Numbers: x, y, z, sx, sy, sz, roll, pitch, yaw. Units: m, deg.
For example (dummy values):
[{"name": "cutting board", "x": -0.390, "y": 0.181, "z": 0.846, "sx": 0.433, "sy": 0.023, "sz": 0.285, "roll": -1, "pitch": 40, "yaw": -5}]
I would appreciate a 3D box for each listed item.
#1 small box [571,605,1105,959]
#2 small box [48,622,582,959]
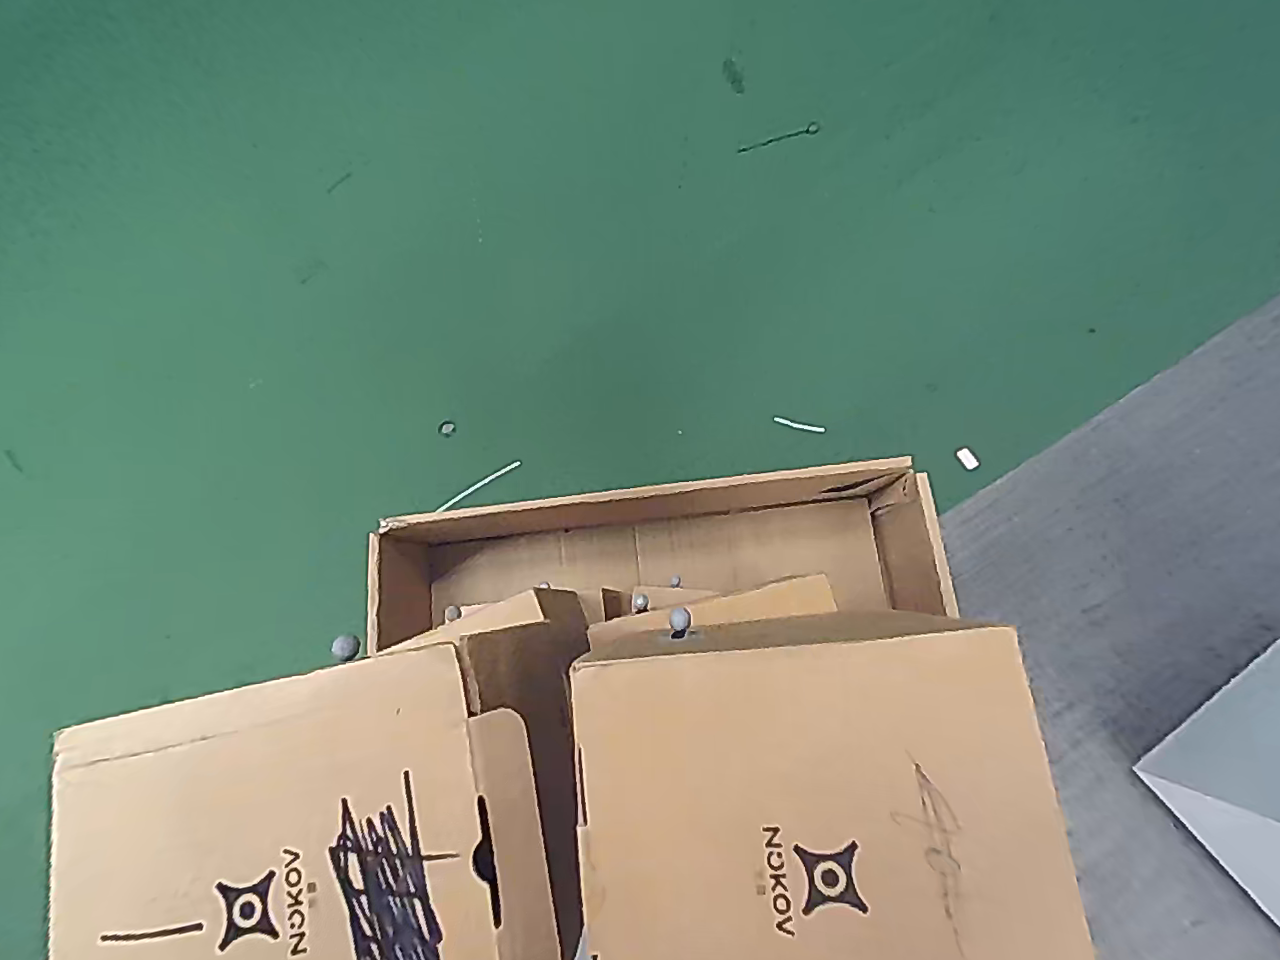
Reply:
[{"name": "small box", "x": 0.074, "y": 0.156, "z": 0.272, "sx": 0.179, "sy": 0.176, "sz": 0.168, "roll": -8, "pitch": 76, "yaw": 4}, {"name": "small box", "x": -0.133, "y": 0.174, "z": 0.281, "sx": 0.179, "sy": 0.176, "sz": 0.168, "roll": -13, "pitch": 76, "yaw": 1}]
